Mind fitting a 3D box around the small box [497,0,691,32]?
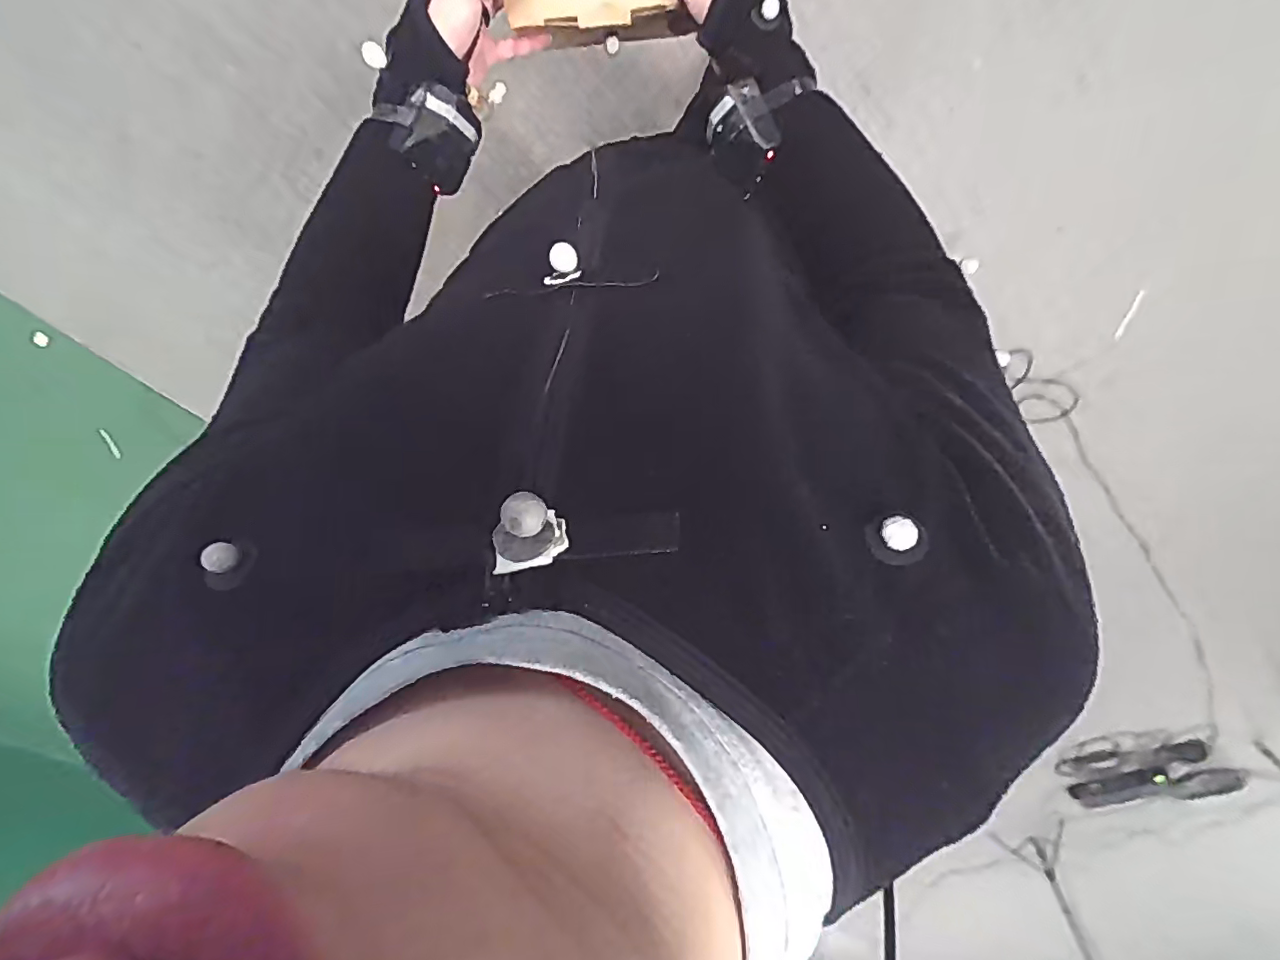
[{"bbox_3d":[-0.039,-0.504,0.460,0.168,0.176,0.179,-3,123,5],"label":"small box"}]
